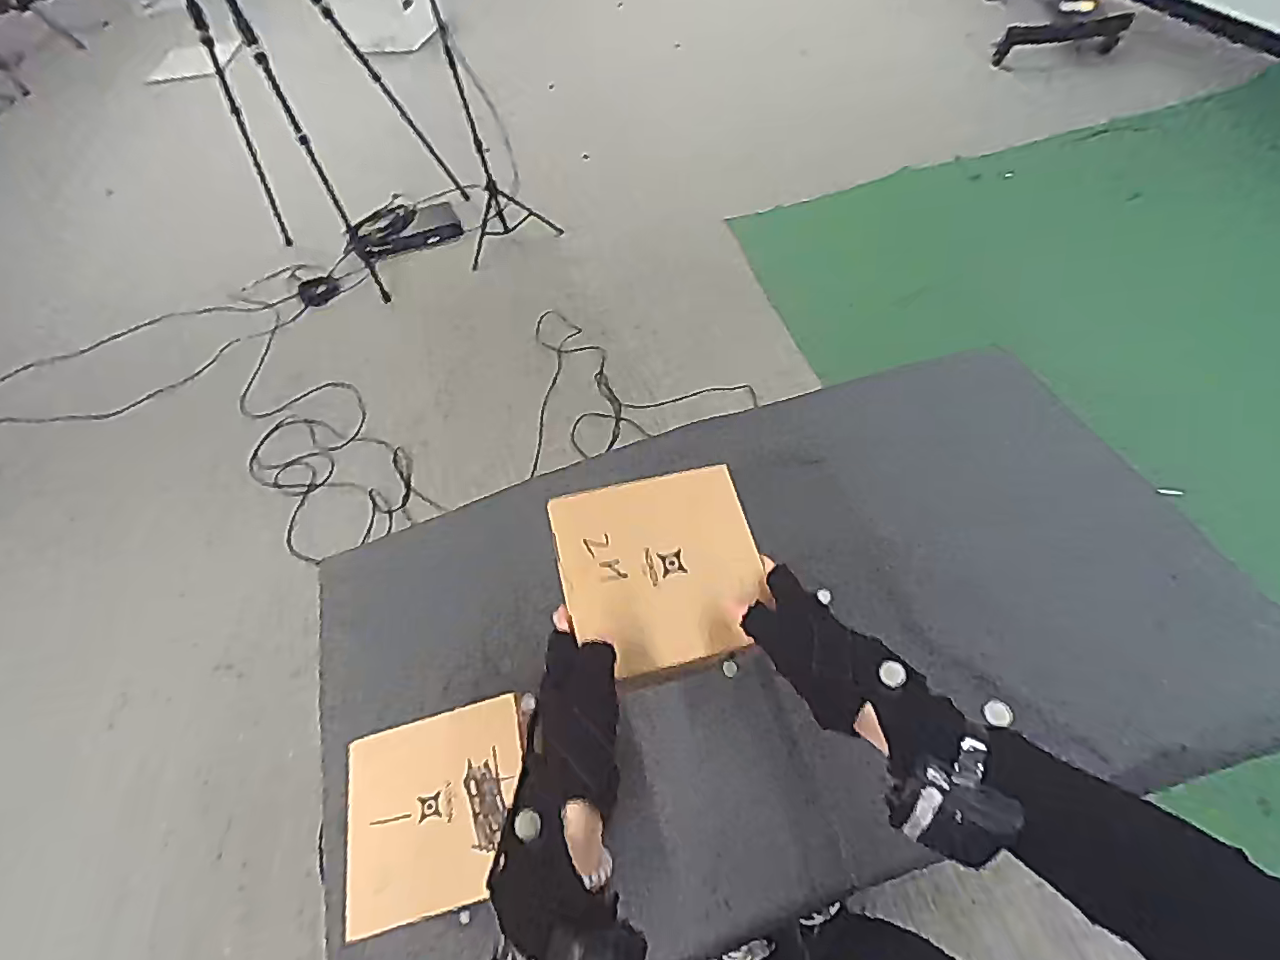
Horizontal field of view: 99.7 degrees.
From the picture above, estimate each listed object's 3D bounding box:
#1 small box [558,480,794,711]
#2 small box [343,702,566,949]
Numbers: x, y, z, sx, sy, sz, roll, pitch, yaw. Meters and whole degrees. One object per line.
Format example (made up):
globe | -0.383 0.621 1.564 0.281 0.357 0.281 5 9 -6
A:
small box | 0.021 0.121 0.537 0.179 0.176 0.168 -11 65 -9
small box | -0.184 0.357 0.577 0.179 0.176 0.168 -16 57 -4
